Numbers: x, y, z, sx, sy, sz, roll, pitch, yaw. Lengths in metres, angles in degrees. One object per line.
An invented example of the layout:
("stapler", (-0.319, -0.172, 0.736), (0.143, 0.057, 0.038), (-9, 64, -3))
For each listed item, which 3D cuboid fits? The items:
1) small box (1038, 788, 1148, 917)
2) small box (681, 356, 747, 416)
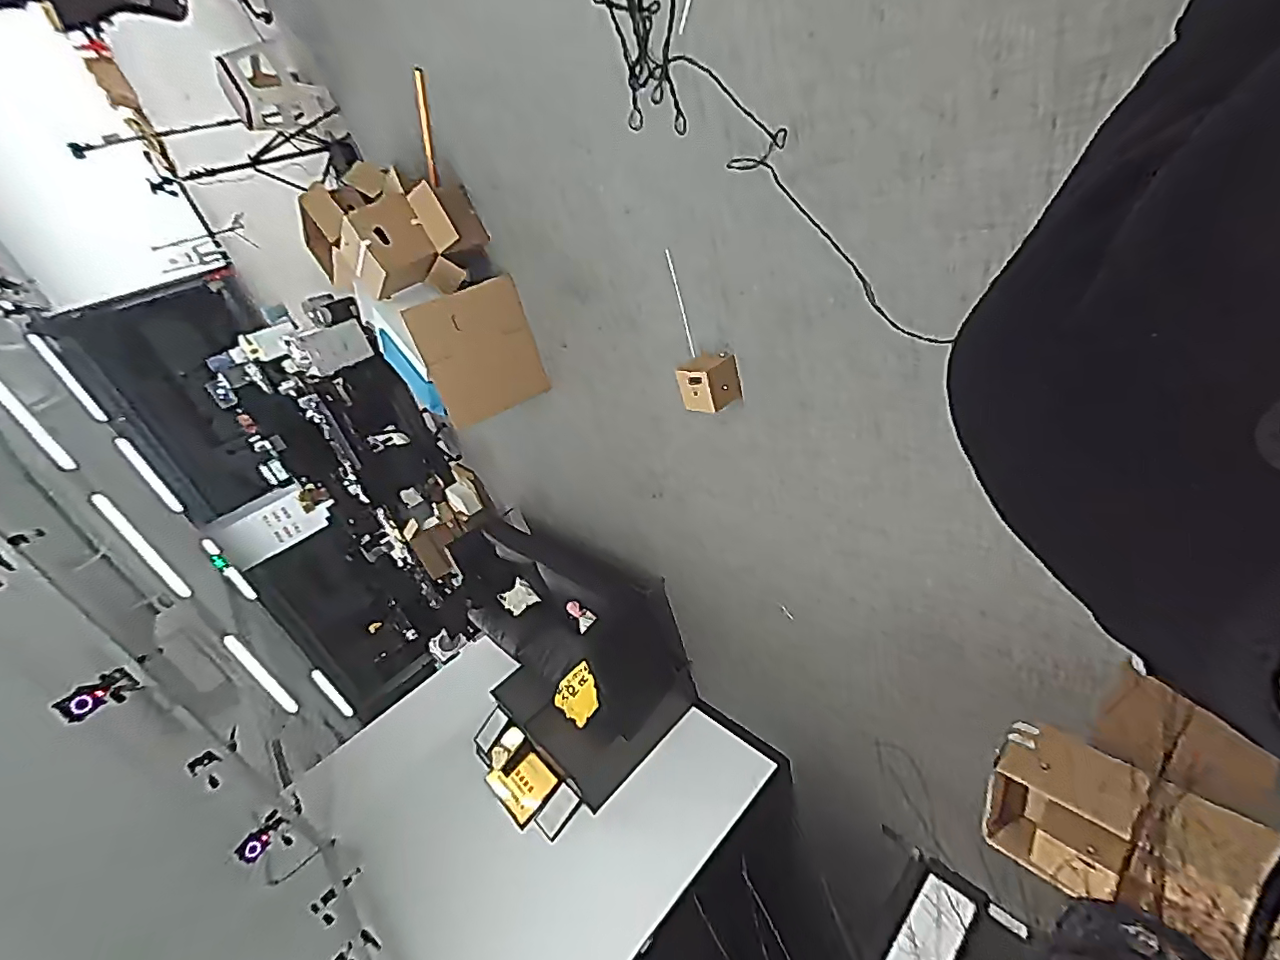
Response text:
("small box", (1.137, 0.928, 1.359), (0.168, 0.176, 0.179), (19, 136, 44))
("small box", (0.293, -0.374, 2.114), (0.168, 0.176, 0.179), (18, 135, 48))
